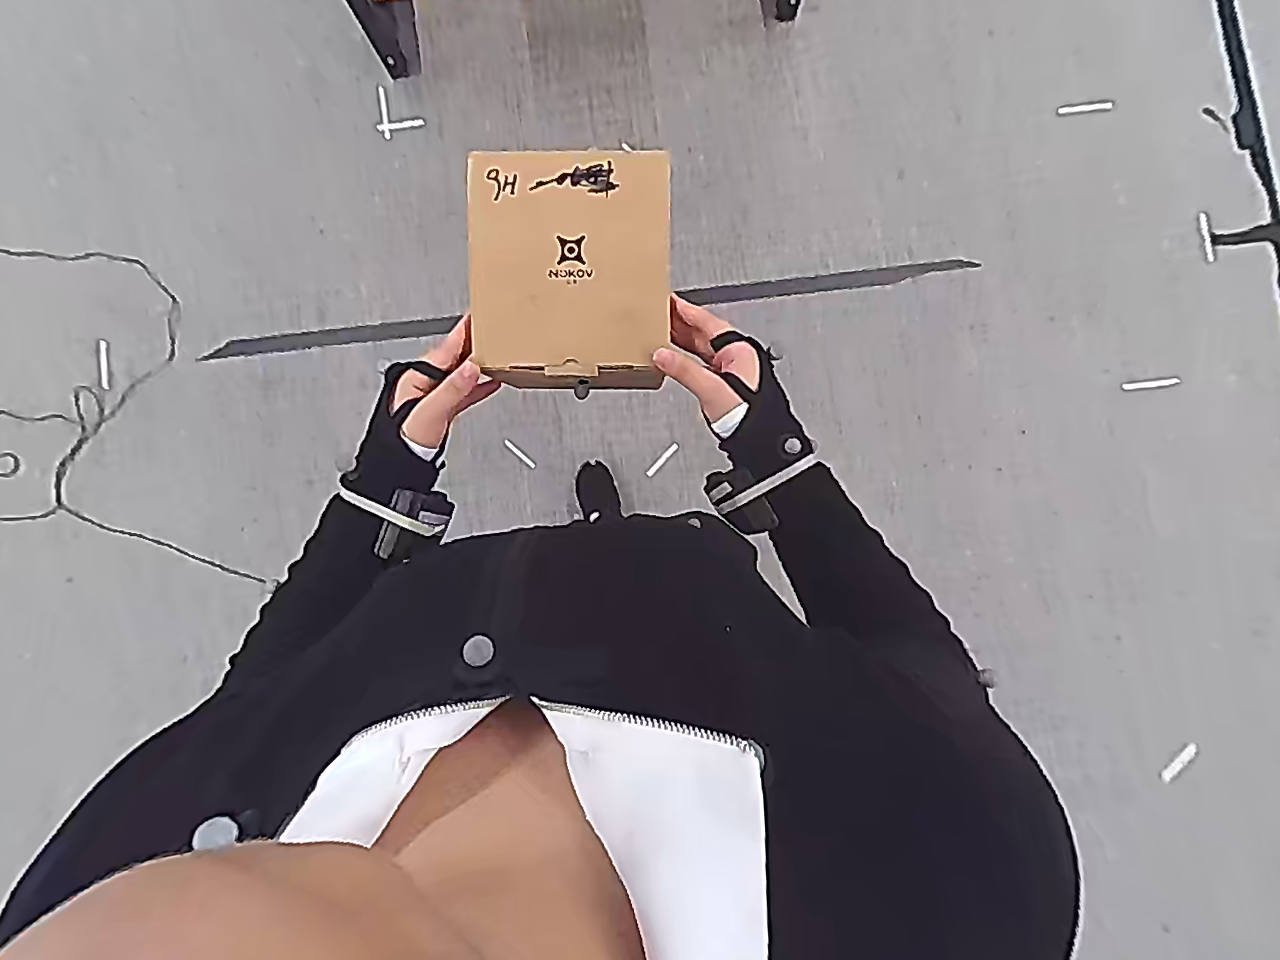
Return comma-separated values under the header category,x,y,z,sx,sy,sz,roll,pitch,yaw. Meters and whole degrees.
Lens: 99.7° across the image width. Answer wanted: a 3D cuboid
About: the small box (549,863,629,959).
category,x,y,z,sx,sy,sz,roll,pitch,yaw
small box,-0.114,1.043,1.266,0.168,0.176,0.179,-3,87,1
